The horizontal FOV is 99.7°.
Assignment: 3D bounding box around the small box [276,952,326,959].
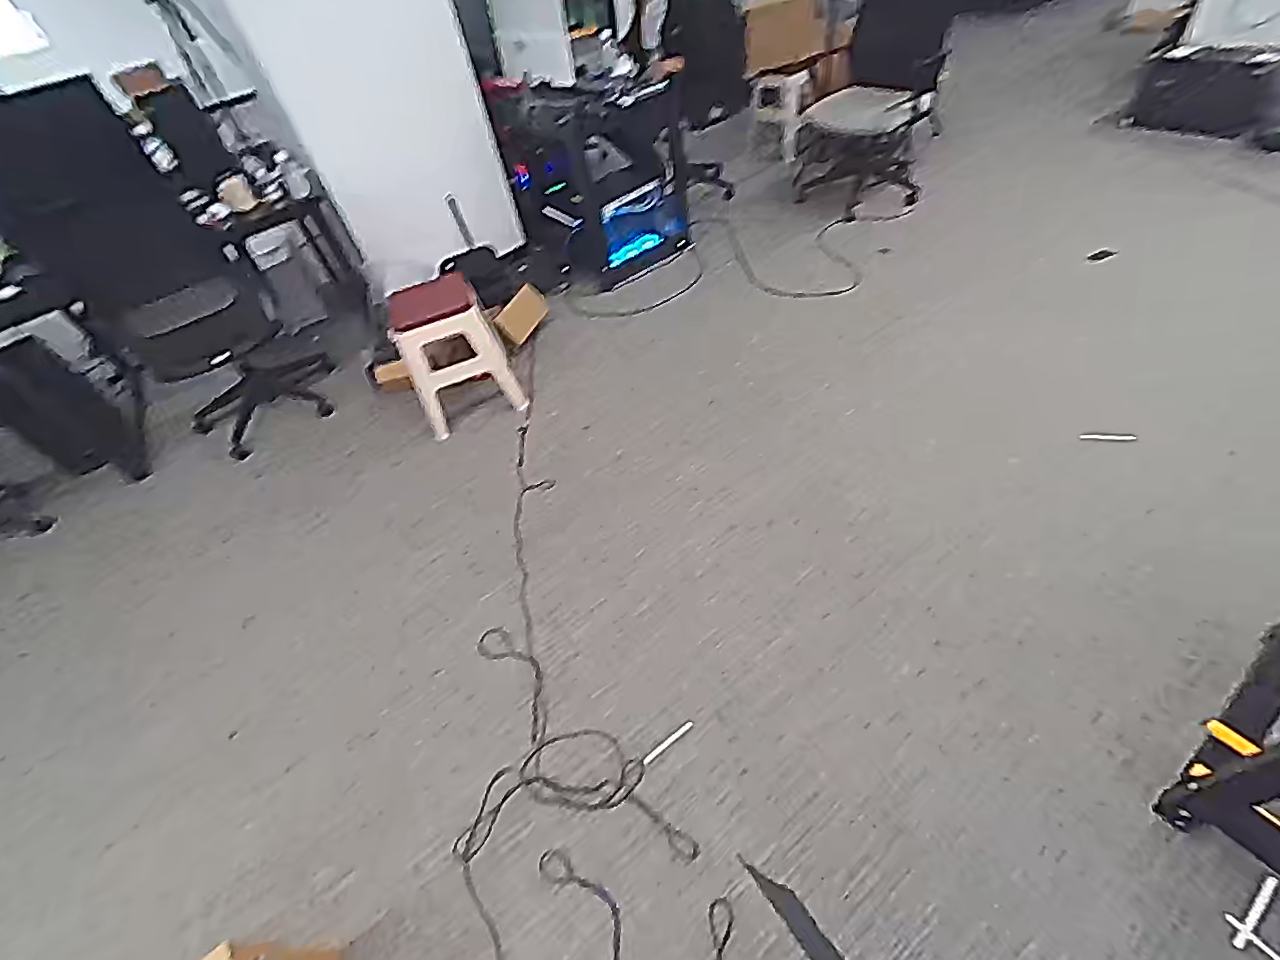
[{"bbox_3d":[-0.644,1.009,0.973,0.168,0.176,0.179,-39,53,-22],"label":"small box"}]
